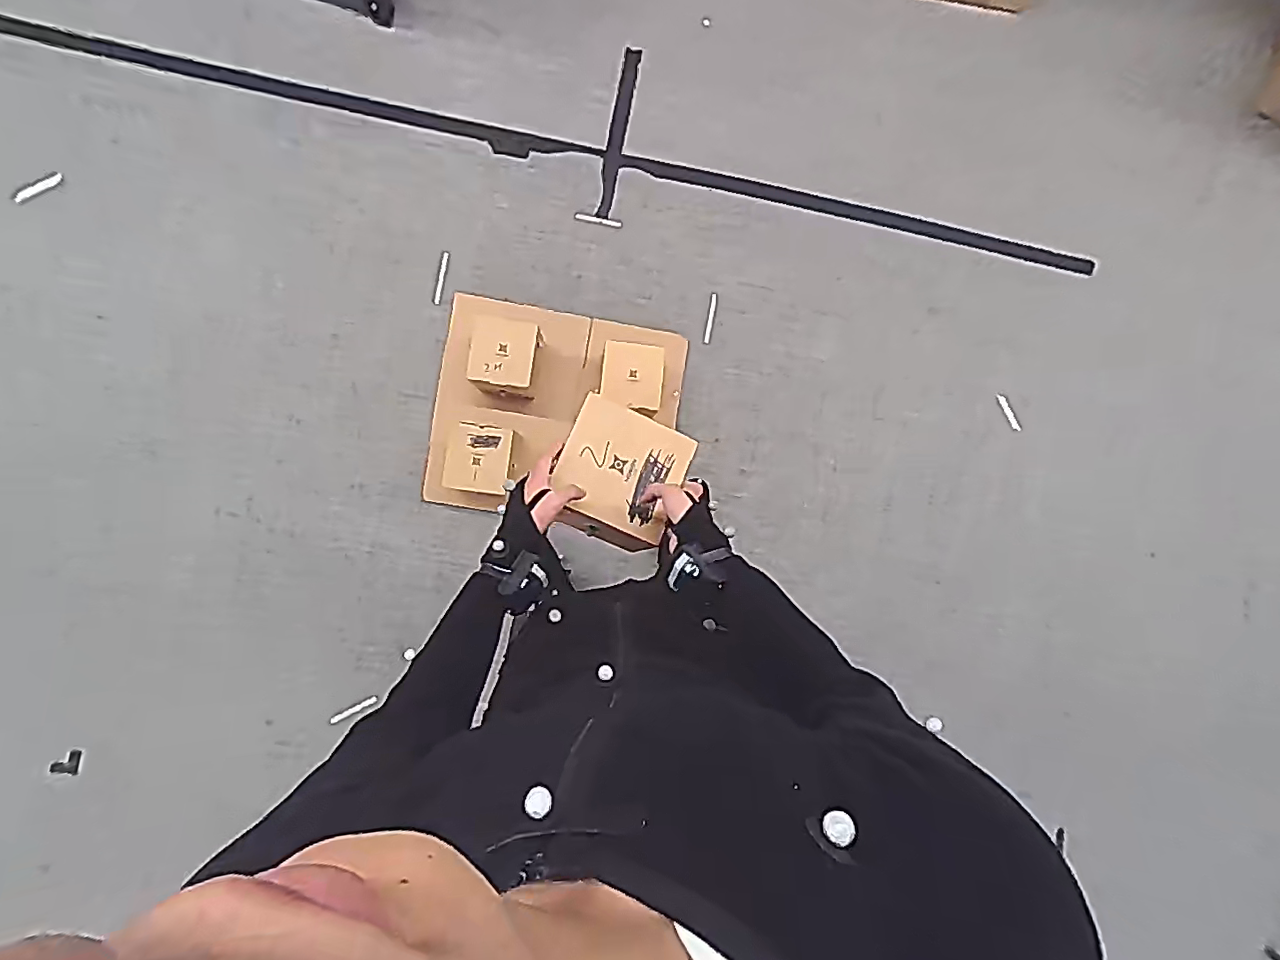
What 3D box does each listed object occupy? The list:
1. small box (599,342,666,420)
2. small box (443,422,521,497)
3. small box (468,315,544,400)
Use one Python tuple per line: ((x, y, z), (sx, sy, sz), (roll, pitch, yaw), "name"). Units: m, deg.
((-0.025, -0.273, 1.527), (0.168, 0.176, 0.179), (6, 89, -5), "small box")
((-0.425, -0.054, 1.483), (0.168, 0.176, 0.179), (8, 90, -4), "small box")
((-0.362, -0.331, 1.490), (0.168, 0.176, 0.179), (9, 89, -4), "small box")
